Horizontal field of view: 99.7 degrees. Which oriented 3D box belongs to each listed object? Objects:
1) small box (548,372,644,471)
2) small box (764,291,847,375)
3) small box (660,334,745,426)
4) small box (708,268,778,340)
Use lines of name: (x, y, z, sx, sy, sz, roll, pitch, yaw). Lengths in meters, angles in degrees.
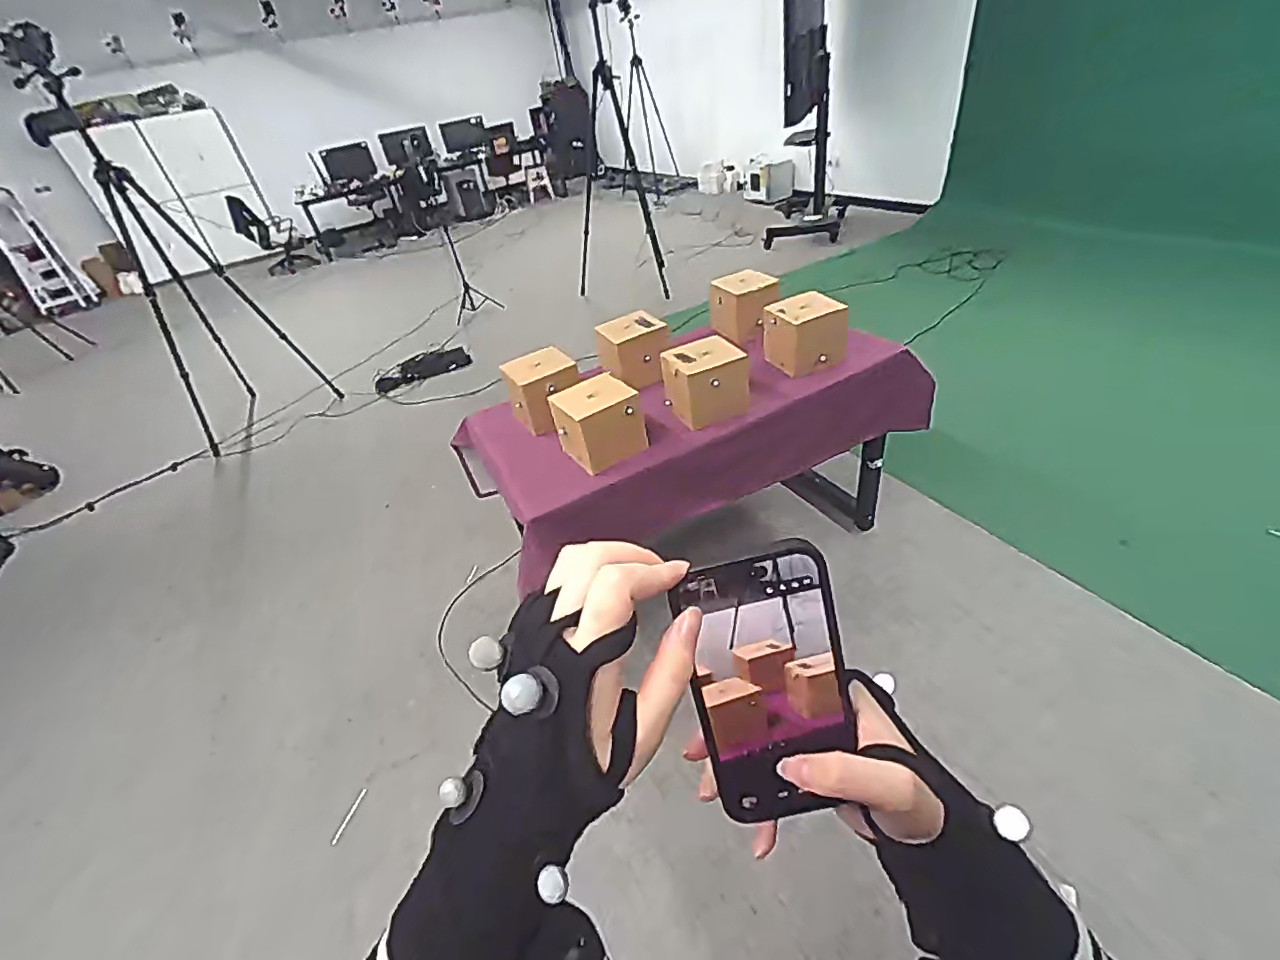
small box: (-0.106, -0.149, 1.378, 0.179, 0.176, 0.168, -28, 40, -22)
small box: (0.478, -0.433, 1.589, 0.179, 0.176, 0.168, -20, 38, -12)
small box: (0.173, -0.268, 1.457, 0.179, 0.176, 0.168, -20, 39, -13)
small box: (0.345, -0.593, 1.823, 0.168, 0.176, 0.179, -23, 40, -14)
